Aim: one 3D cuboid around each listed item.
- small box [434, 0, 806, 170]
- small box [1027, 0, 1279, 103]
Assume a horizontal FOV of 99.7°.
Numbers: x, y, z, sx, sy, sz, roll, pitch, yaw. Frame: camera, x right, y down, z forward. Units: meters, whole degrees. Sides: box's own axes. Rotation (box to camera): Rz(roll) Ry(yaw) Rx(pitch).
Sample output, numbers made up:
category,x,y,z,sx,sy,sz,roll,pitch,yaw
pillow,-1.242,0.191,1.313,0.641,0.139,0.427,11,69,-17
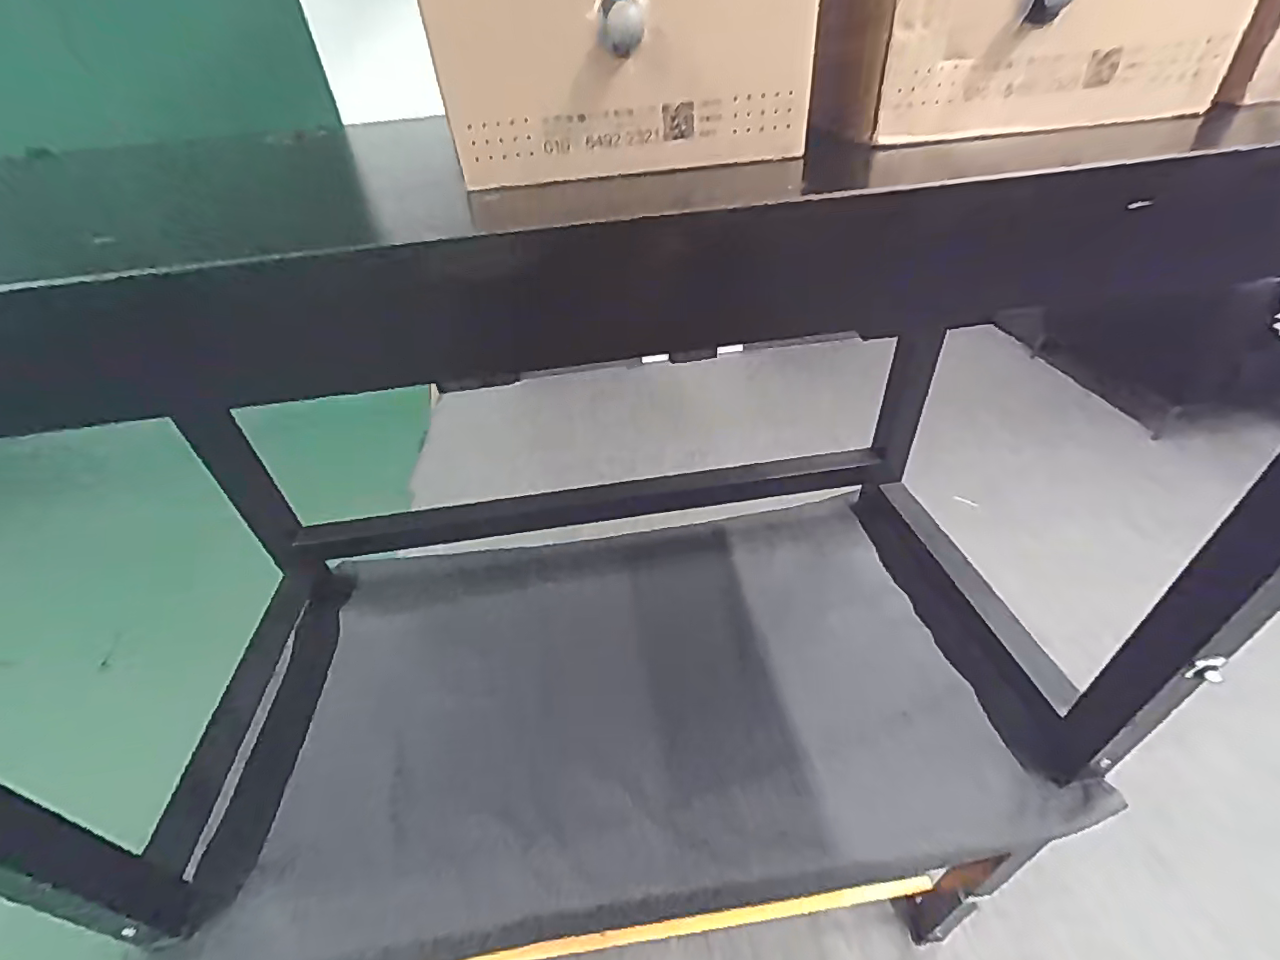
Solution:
category,x,y,z,sx,sy,sz,roll,pitch,yaw
small box,-0.015,-0.270,0.283,0.168,0.176,0.179,-6,38,-1
small box,0.364,-0.316,0.293,0.168,0.176,0.179,-6,37,0
